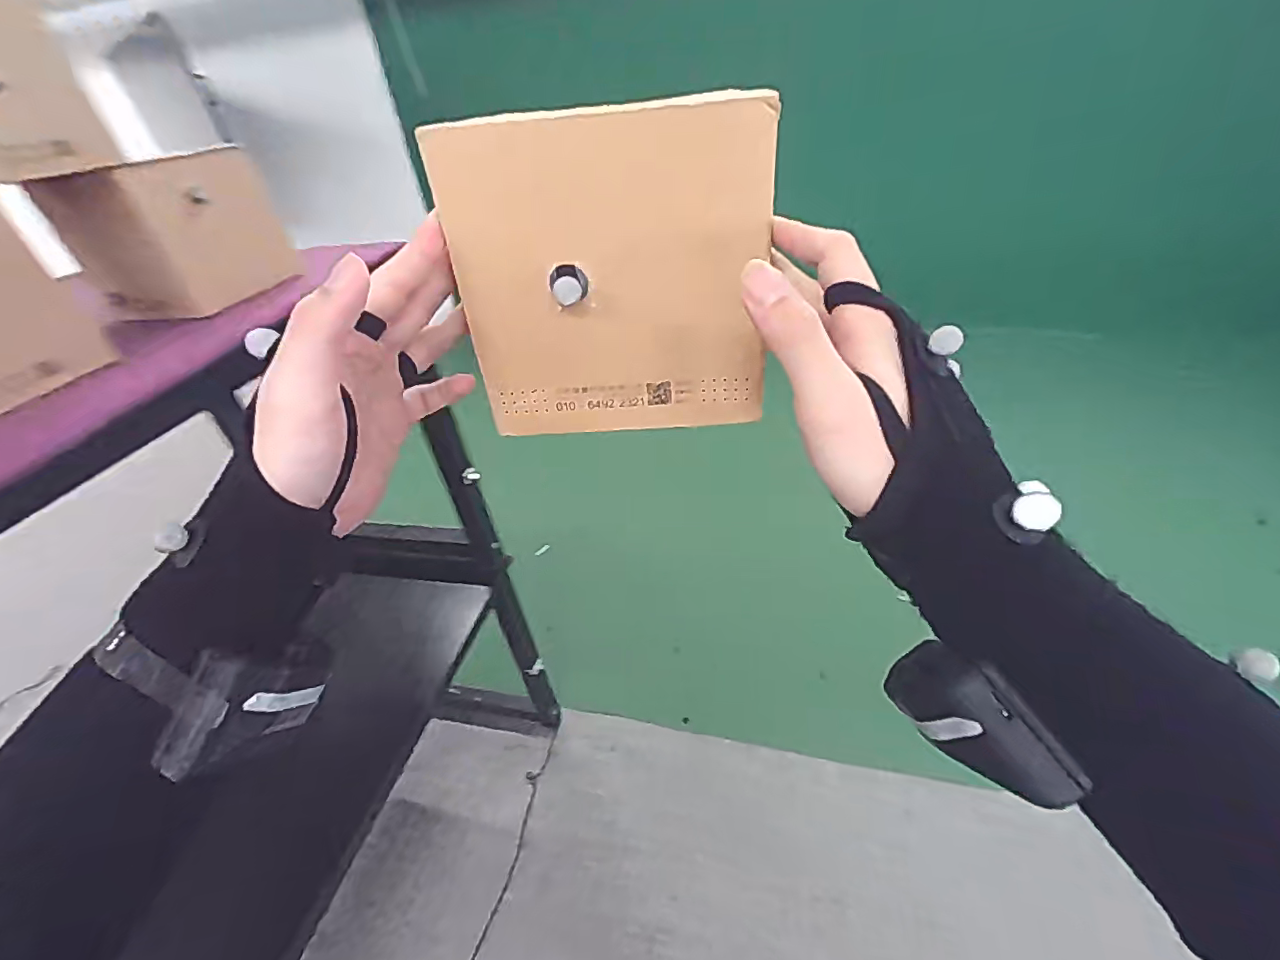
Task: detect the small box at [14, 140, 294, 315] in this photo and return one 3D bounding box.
[{"bbox_3d":[-0.605,-0.323,0.704,0.168,0.176,0.179,3,38,15],"label":"small box"}]

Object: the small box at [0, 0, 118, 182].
[{"bbox_3d":[-0.661,-0.365,0.497,0.179,0.176,0.168,1,37,14],"label":"small box"}]
